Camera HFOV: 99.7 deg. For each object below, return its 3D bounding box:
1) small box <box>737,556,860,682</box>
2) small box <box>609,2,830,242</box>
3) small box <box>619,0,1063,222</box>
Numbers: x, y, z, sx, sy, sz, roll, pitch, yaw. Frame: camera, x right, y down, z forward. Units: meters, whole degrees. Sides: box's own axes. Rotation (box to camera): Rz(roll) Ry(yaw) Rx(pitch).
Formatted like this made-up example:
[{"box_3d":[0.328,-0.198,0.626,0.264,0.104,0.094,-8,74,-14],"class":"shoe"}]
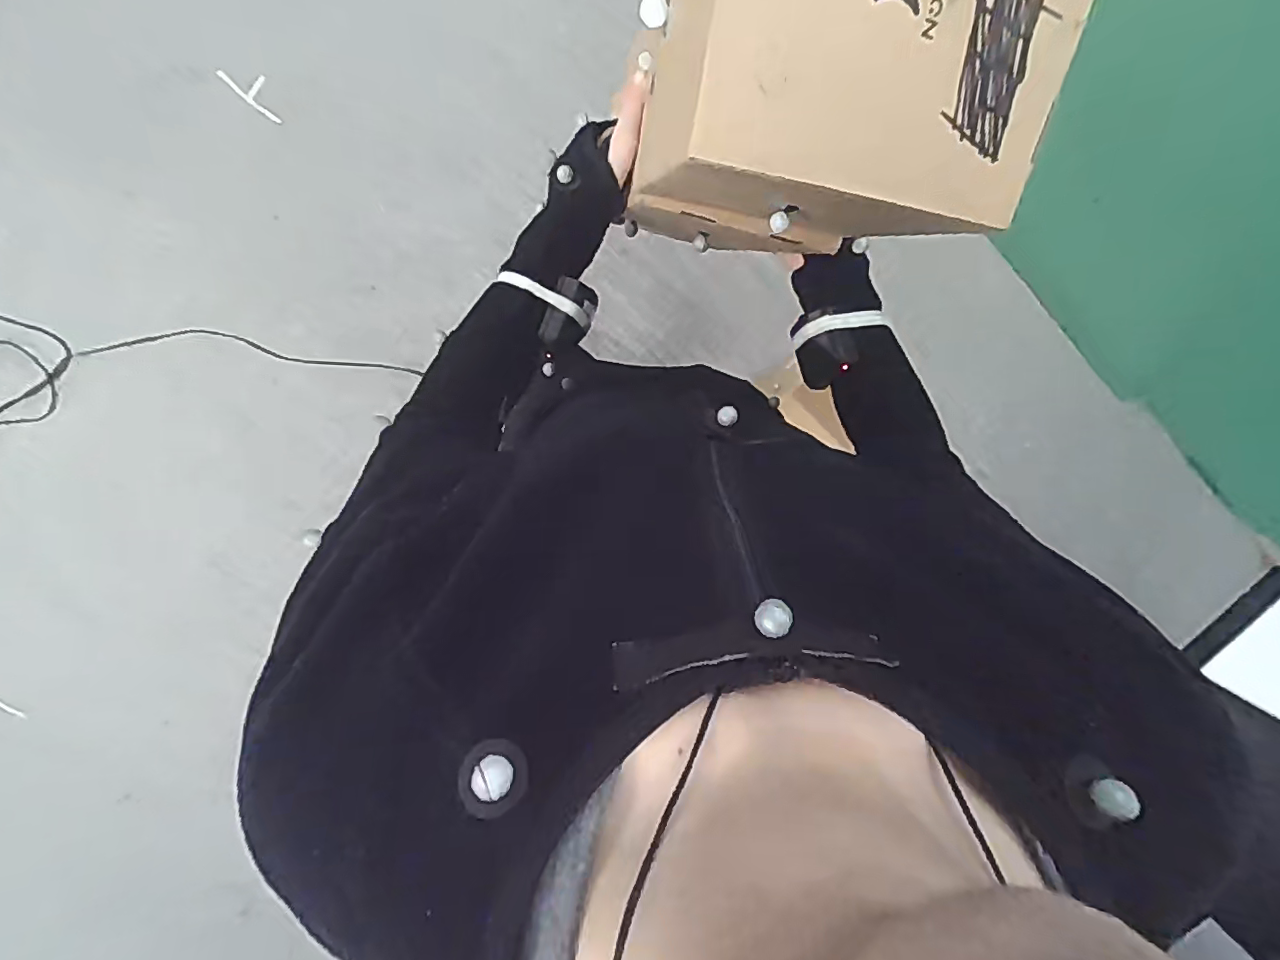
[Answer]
[{"box_3d":[0.331,0.286,1.165,0.168,0.176,0.179,-33,106,6],"class":"small box"},{"box_3d":[0.072,-0.310,0.451,0.168,0.176,0.179,8,112,-13],"class":"small box"},{"box_3d":[0.093,-0.248,0.300,0.179,0.176,0.168,6,112,-11],"class":"small box"}]
